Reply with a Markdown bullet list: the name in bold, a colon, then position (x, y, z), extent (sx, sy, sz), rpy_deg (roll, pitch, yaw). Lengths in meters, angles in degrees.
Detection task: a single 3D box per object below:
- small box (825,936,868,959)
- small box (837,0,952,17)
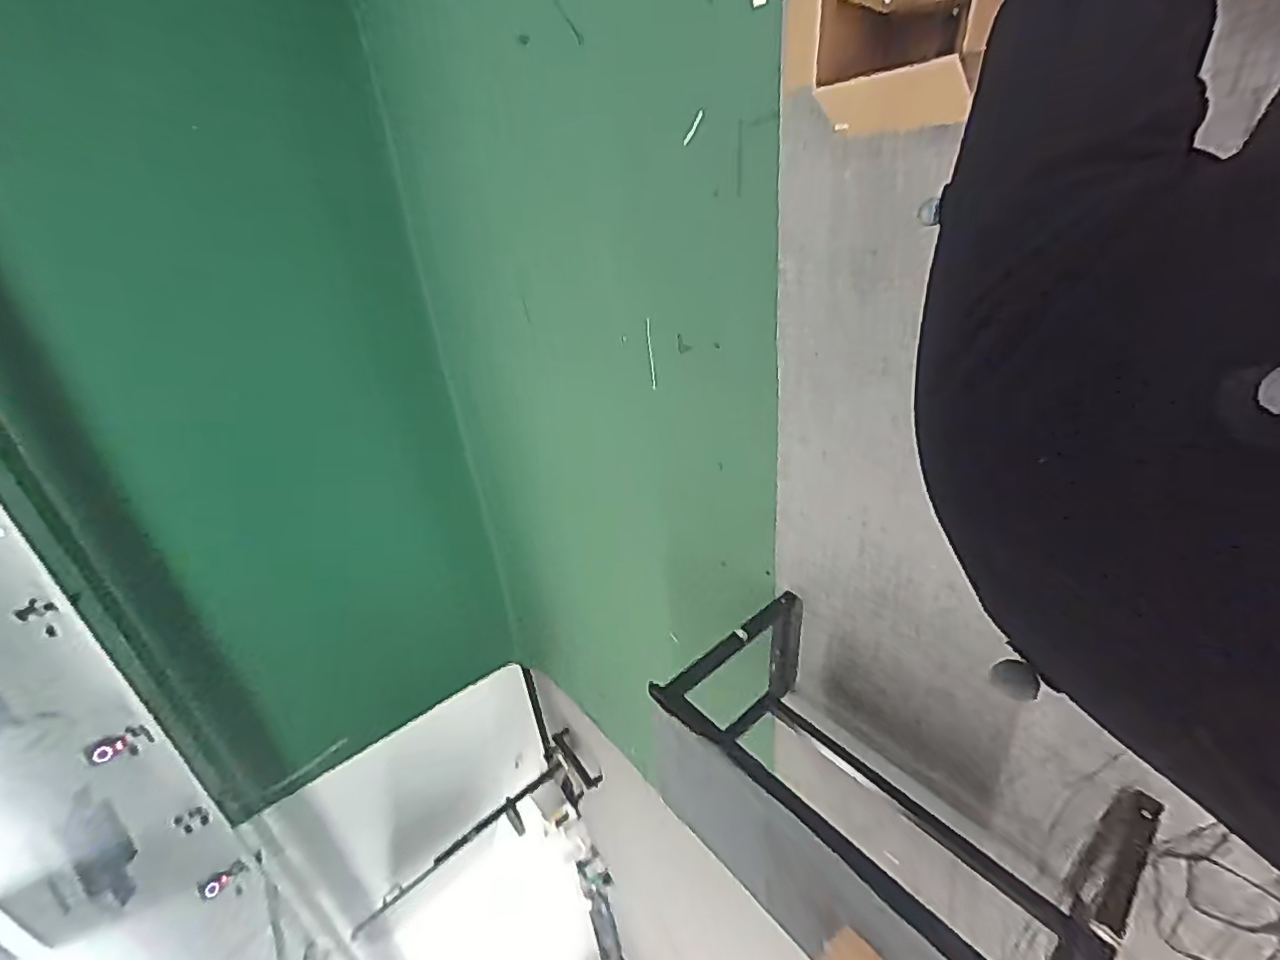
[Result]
- **small box**: position (0.513, 1.279, 1.312), extent (0.179, 0.176, 0.168), rpy_deg (29, 132, 42)
- **small box**: position (0.483, -0.956, 0.961), extent (0.179, 0.176, 0.168), rpy_deg (27, 130, 42)
